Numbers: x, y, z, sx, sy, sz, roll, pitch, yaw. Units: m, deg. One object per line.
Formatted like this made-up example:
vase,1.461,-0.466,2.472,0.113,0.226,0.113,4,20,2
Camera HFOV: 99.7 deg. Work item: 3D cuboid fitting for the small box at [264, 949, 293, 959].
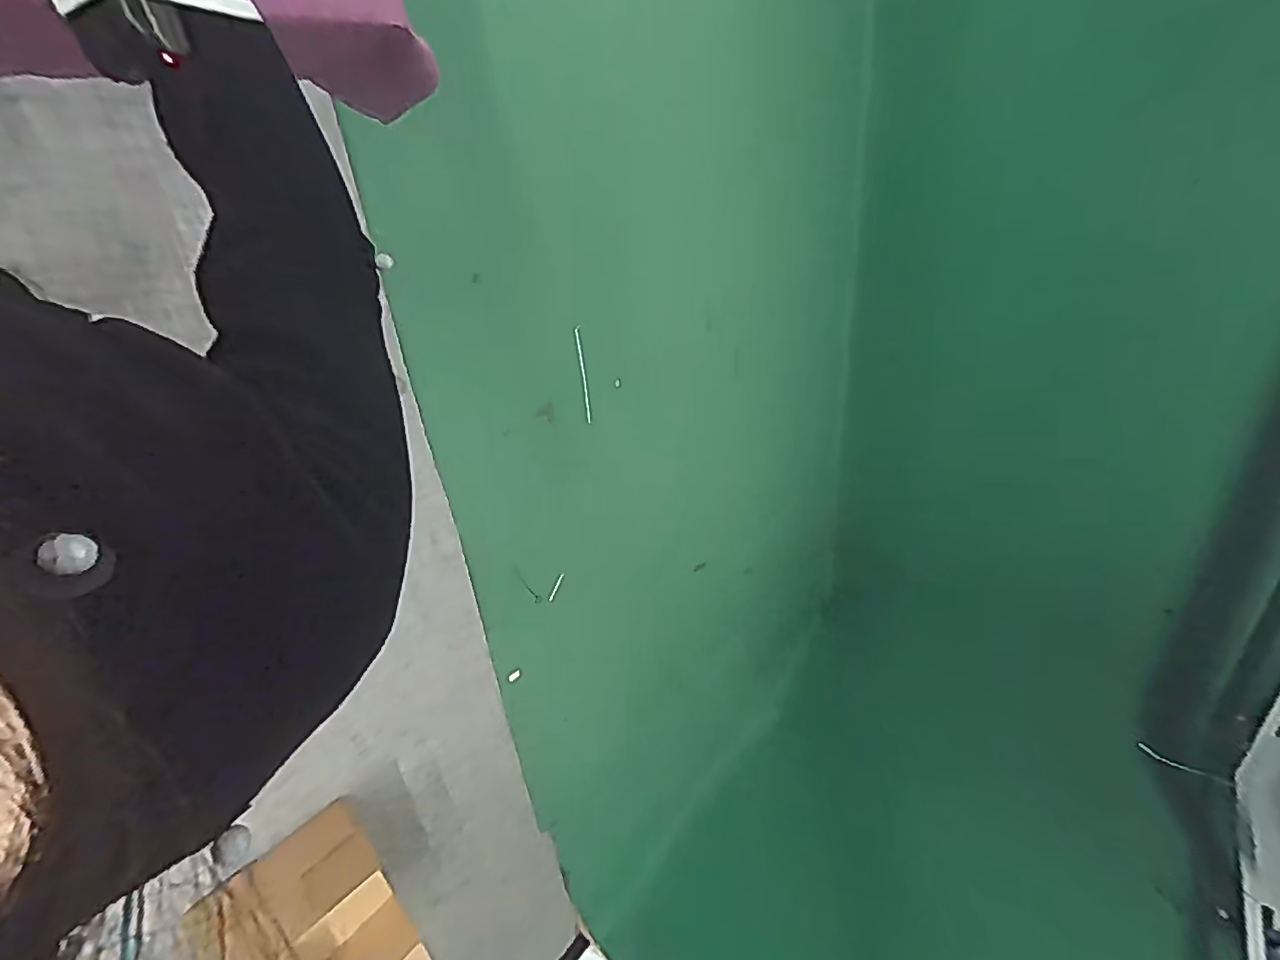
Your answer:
small box,-0.861,1.253,1.249,0.168,0.176,0.179,-26,124,-42

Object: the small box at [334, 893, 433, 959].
small box,-0.699,1.288,1.464,0.179,0.176,0.168,-33,129,-40
